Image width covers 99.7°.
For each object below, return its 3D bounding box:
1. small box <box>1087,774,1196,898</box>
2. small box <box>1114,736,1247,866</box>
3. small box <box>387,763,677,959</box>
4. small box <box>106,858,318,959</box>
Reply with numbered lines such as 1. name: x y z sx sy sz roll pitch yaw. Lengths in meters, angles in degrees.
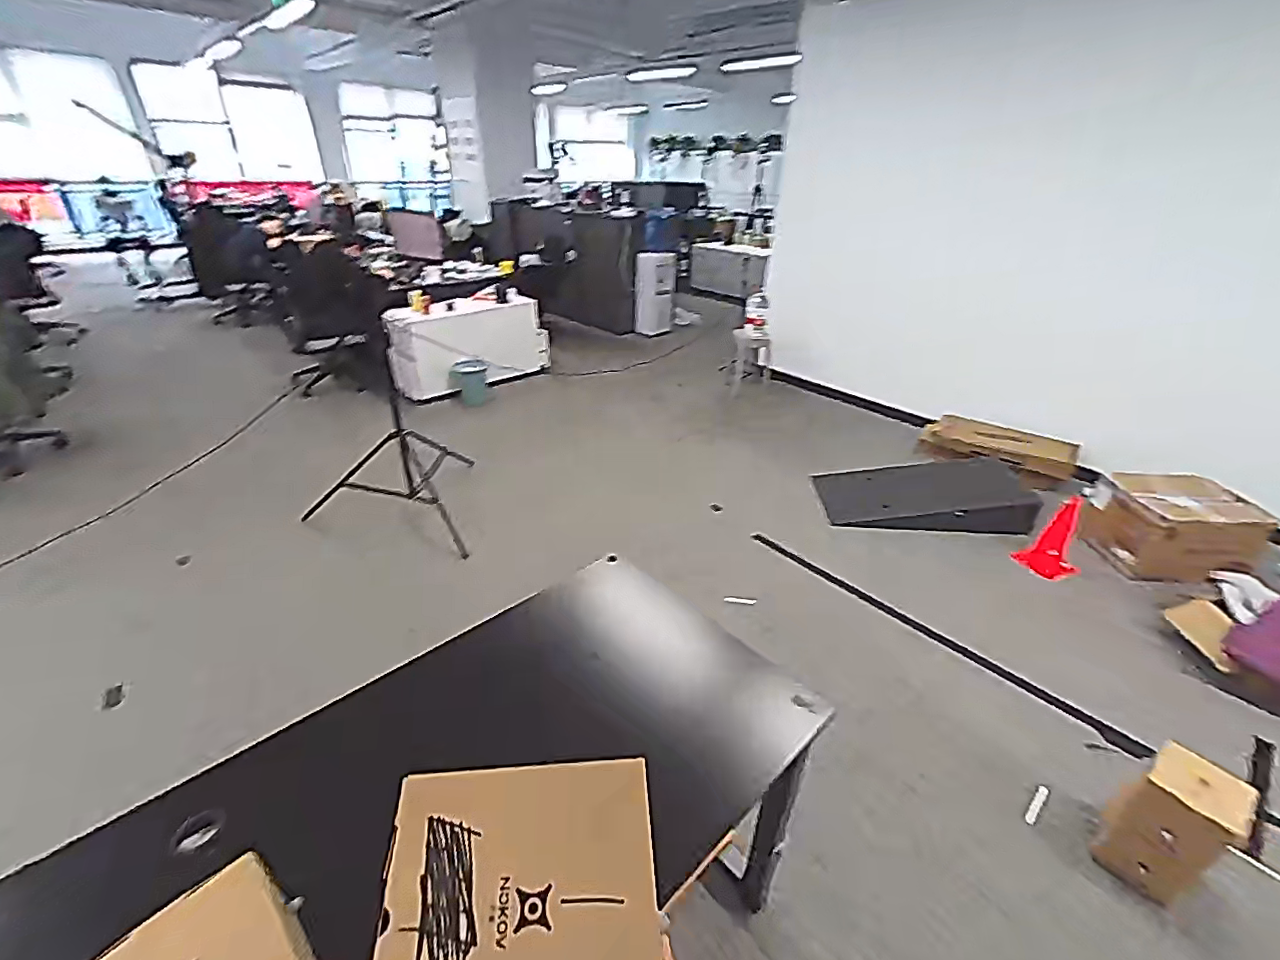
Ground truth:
1. small box: 1.299 0.921 1.398 0.179 0.176 0.168 -25 39 -36
2. small box: 1.306 0.778 1.315 0.179 0.176 0.168 -21 36 -32
3. small box: -0.069 0.327 0.397 0.179 0.176 0.168 -1 46 -5
4. small box: -0.421 0.543 0.536 0.179 0.176 0.168 25 39 34
